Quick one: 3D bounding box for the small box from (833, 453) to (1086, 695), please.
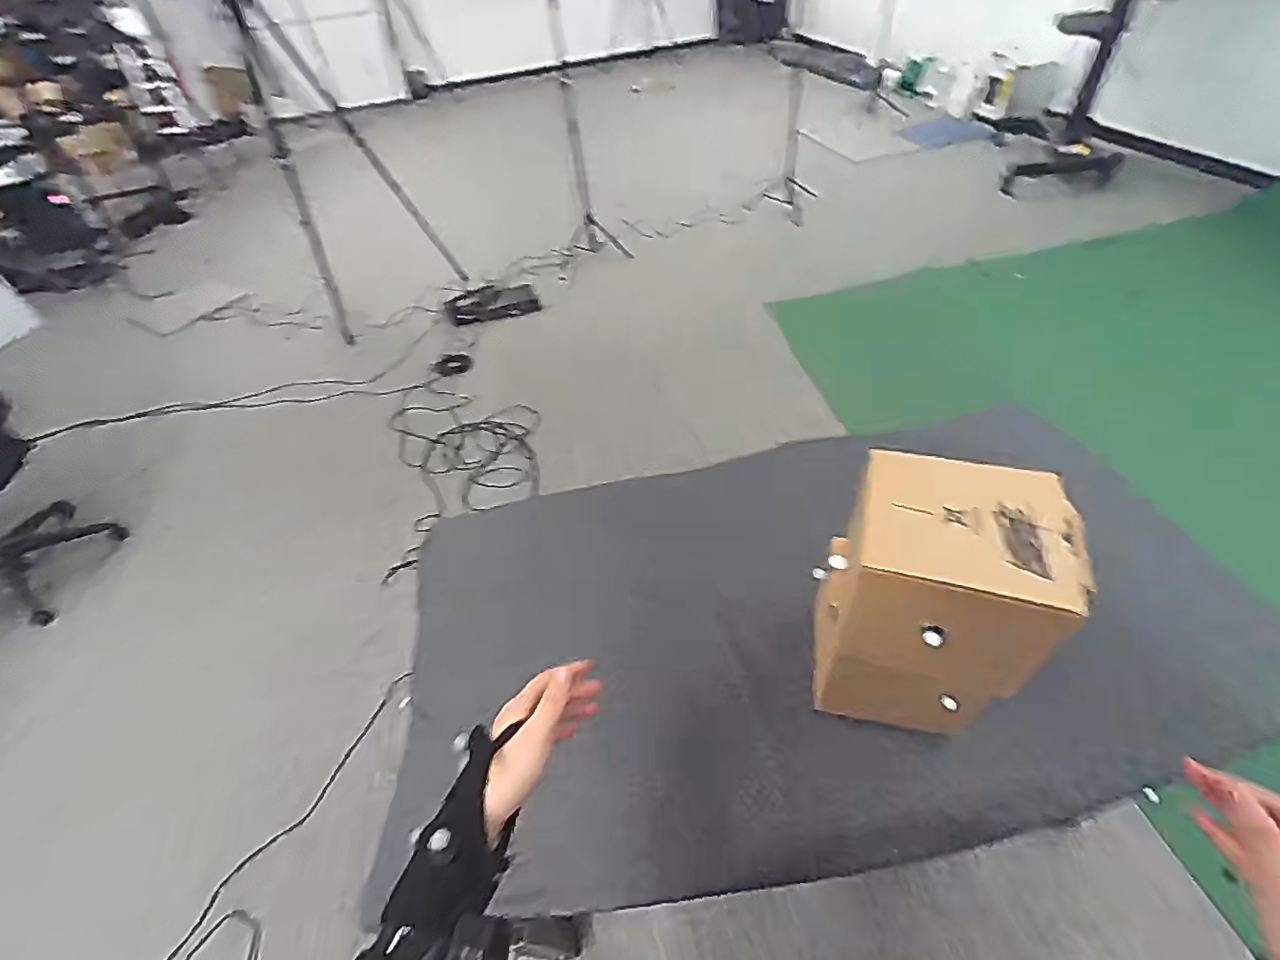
[{"bbox_3d":[0.314,0.100,0.565,0.179,0.176,0.168,11,48,19],"label":"small box"}]
